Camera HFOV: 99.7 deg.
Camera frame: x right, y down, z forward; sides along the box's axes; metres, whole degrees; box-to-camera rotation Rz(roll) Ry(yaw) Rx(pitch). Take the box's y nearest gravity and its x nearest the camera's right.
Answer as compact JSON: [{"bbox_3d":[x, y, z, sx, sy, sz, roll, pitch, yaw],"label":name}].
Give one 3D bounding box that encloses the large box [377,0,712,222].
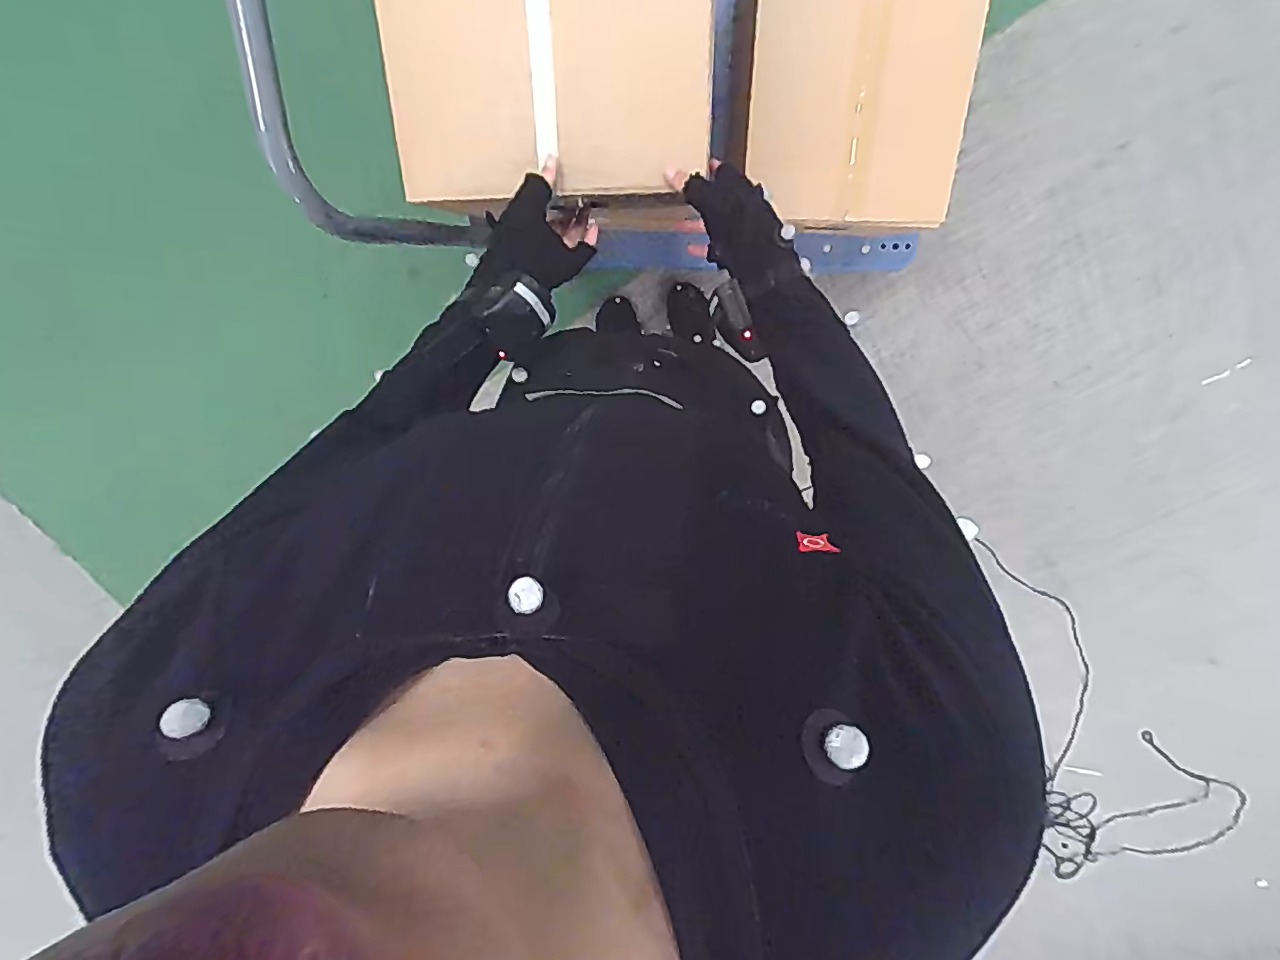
[{"bbox_3d":[-0.076,-0.529,0.610,0.320,0.320,0.408,1,111,6],"label":"large box"}]
